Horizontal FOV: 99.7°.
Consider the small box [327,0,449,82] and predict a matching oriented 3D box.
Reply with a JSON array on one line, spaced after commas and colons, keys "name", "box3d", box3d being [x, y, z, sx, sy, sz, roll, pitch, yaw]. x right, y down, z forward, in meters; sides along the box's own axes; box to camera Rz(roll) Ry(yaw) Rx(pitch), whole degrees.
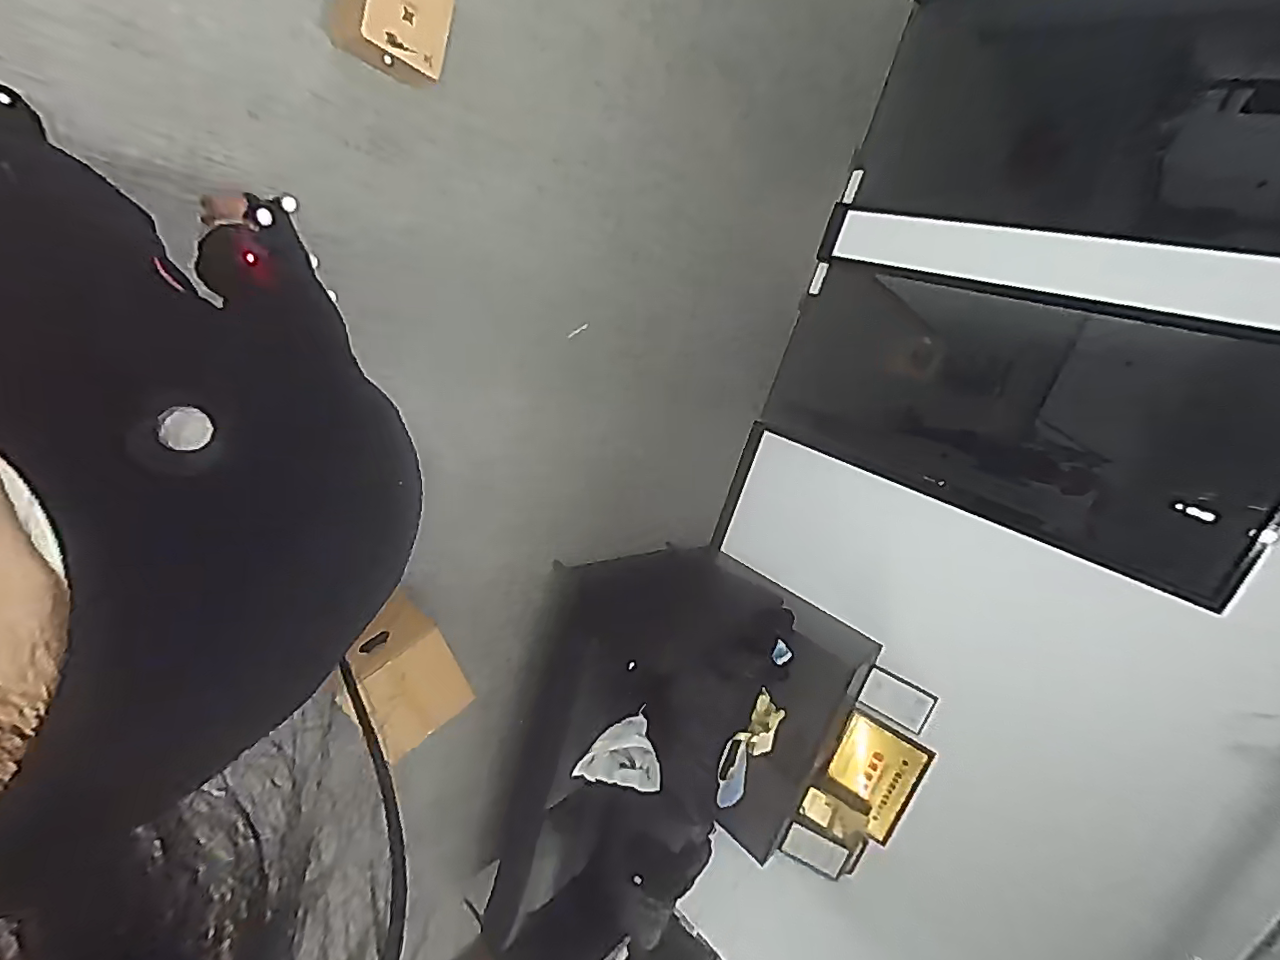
[{"name": "small box", "box3d": [-0.526, -0.970, 1.126, 0.168, 0.176, 0.179, 0, 113, -51]}]
